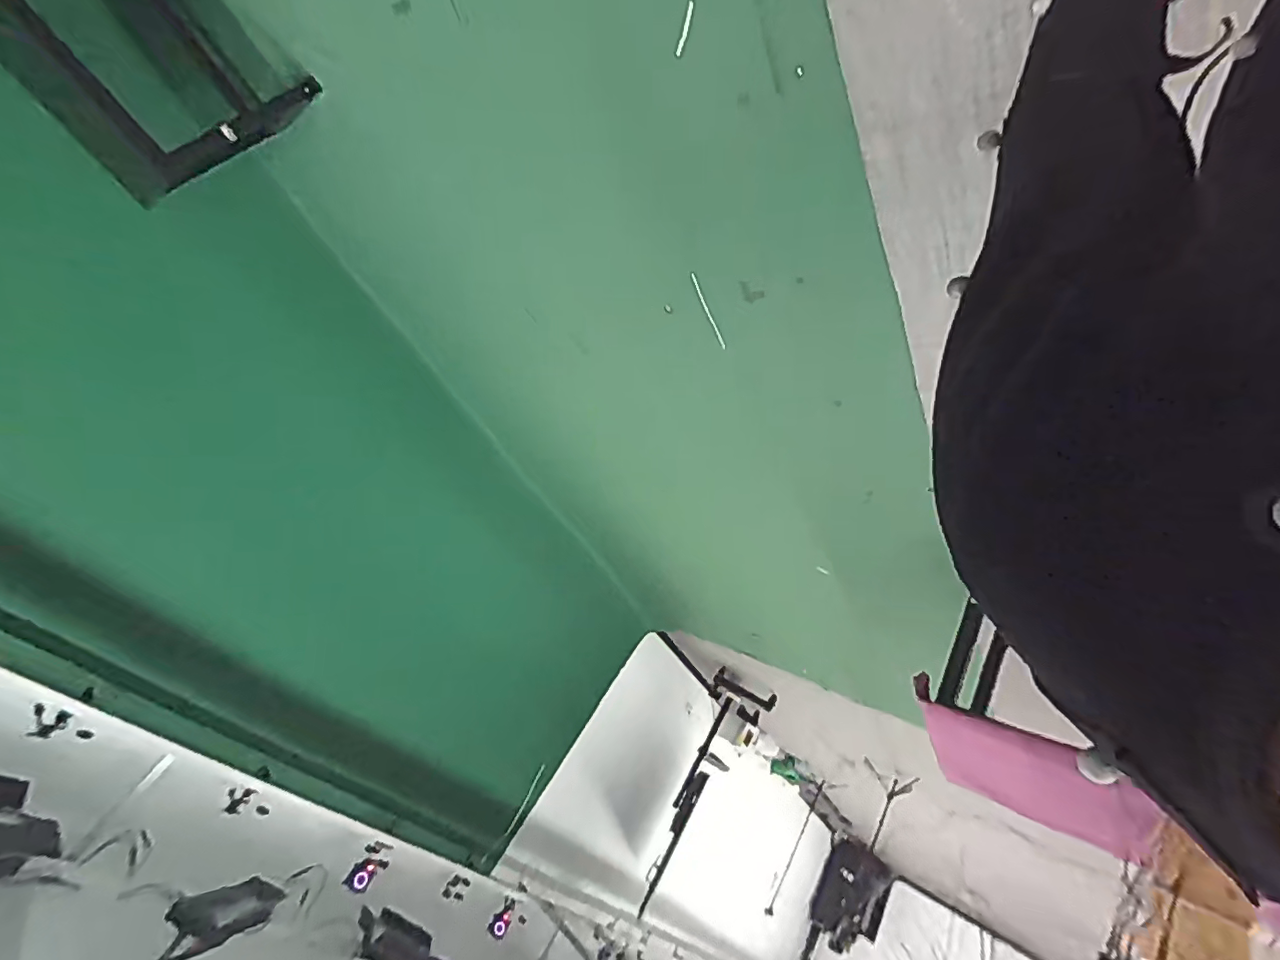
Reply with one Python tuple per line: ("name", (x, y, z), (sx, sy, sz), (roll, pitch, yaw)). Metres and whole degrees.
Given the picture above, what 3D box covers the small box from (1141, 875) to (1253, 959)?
("small box", (1.308, 1.073, 1.274), (0.168, 0.176, 0.179), (9, 146, 43))
